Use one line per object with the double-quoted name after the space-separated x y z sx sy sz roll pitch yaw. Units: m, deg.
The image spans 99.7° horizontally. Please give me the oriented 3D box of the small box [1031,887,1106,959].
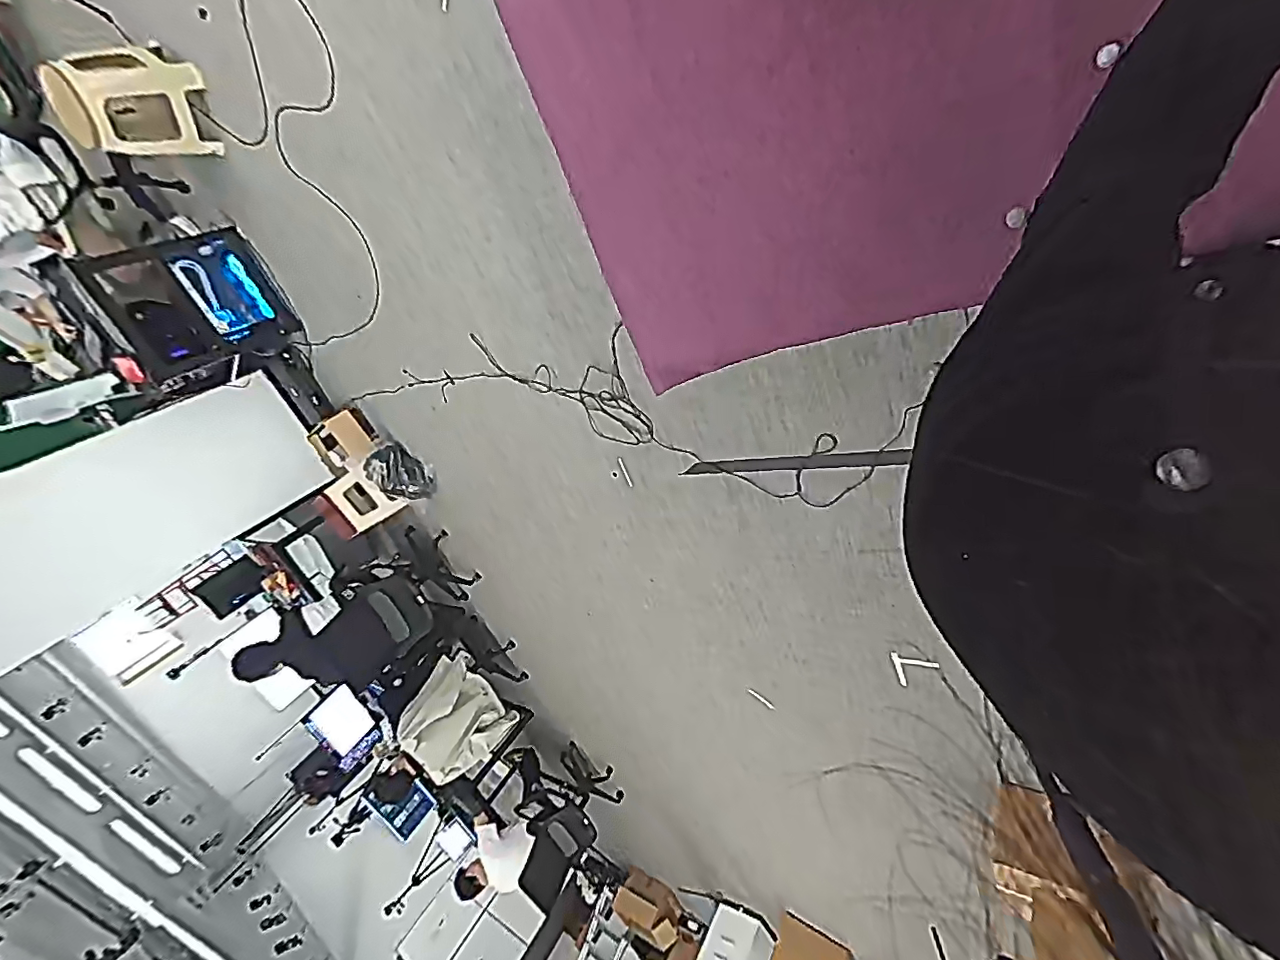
1.360 1.444 1.714 0.179 0.176 0.168 -4 119 42 "small box"
